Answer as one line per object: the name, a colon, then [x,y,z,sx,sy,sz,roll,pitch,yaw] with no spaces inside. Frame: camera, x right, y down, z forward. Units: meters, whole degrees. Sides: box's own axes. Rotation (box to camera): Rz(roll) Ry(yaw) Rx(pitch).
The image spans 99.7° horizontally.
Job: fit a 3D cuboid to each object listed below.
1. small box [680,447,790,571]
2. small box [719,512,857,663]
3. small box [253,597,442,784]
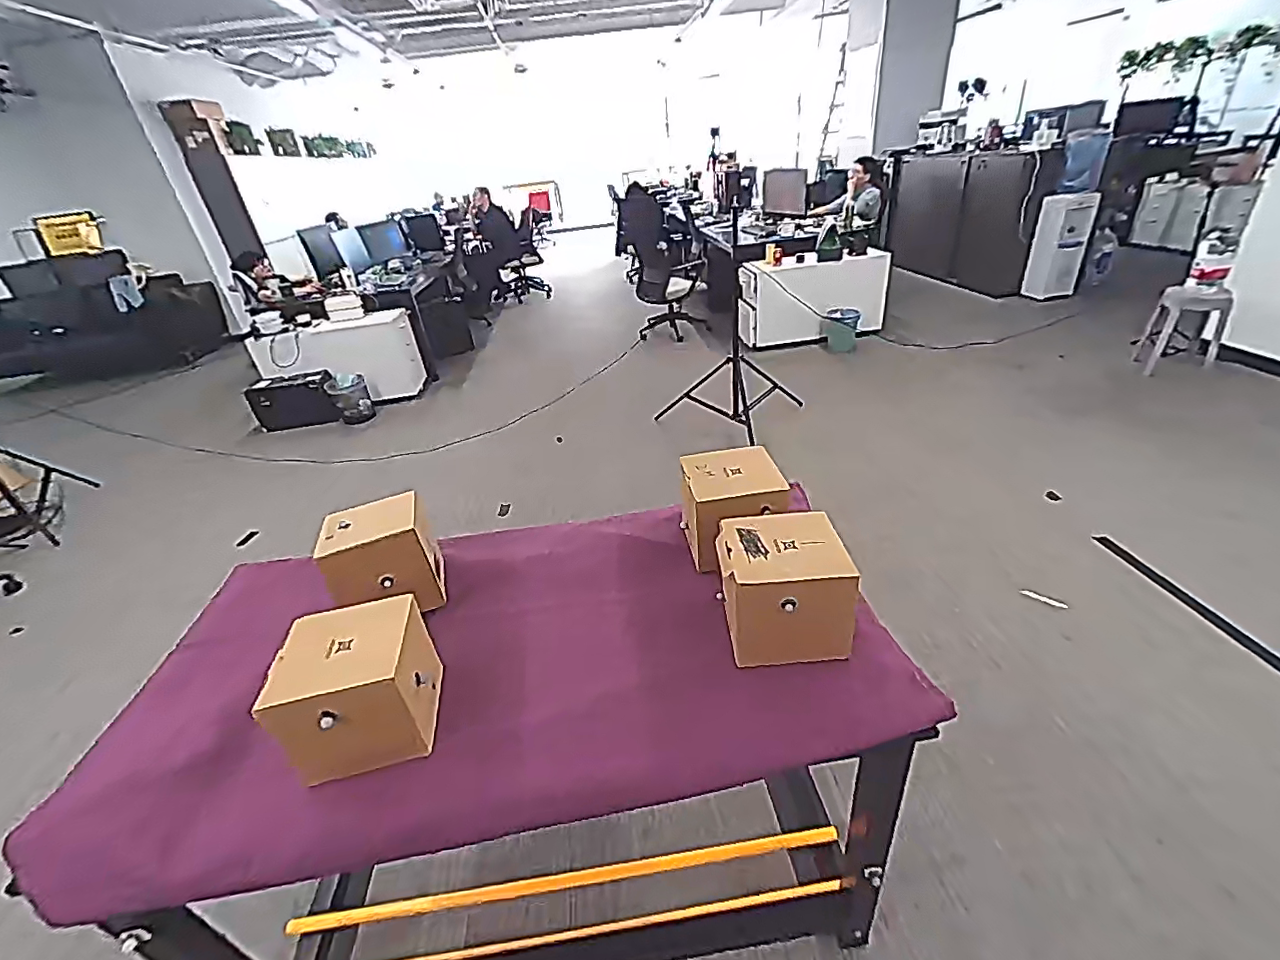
small box: [0.180,0.057,1.062,0.179,0.176,0.168,-9,32,-3]
small box: [0.227,0.172,0.861,0.179,0.176,0.168,-6,30,2]
small box: [-0.401,0.301,0.784,0.179,0.176,0.168,-12,31,-7]
